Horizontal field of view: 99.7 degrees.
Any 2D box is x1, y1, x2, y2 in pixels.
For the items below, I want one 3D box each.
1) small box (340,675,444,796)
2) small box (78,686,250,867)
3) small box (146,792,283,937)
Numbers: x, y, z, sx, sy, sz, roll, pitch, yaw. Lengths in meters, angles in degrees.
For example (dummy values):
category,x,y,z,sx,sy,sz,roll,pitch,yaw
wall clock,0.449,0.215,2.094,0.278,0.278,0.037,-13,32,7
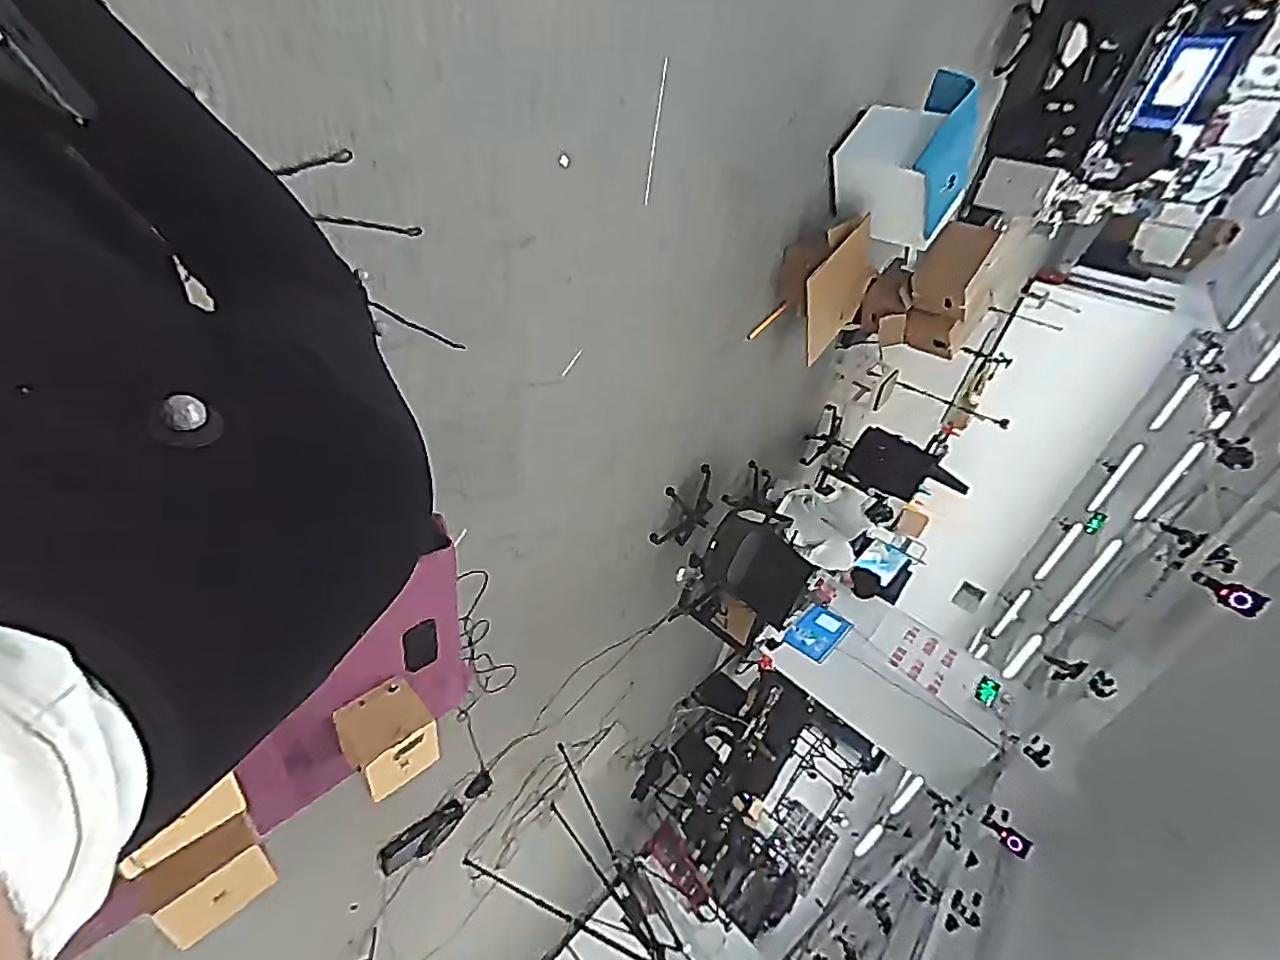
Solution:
category,x,y,z,sx,sy,sz,roll,pitch,yaw
small box,-0.595,0.602,1.299,0.168,0.176,0.179,-25,138,-40
small box,-0.796,0.489,0.913,0.168,0.176,0.179,-24,137,-42
small box,-0.850,0.742,1.078,0.168,0.176,0.179,-26,138,-41
